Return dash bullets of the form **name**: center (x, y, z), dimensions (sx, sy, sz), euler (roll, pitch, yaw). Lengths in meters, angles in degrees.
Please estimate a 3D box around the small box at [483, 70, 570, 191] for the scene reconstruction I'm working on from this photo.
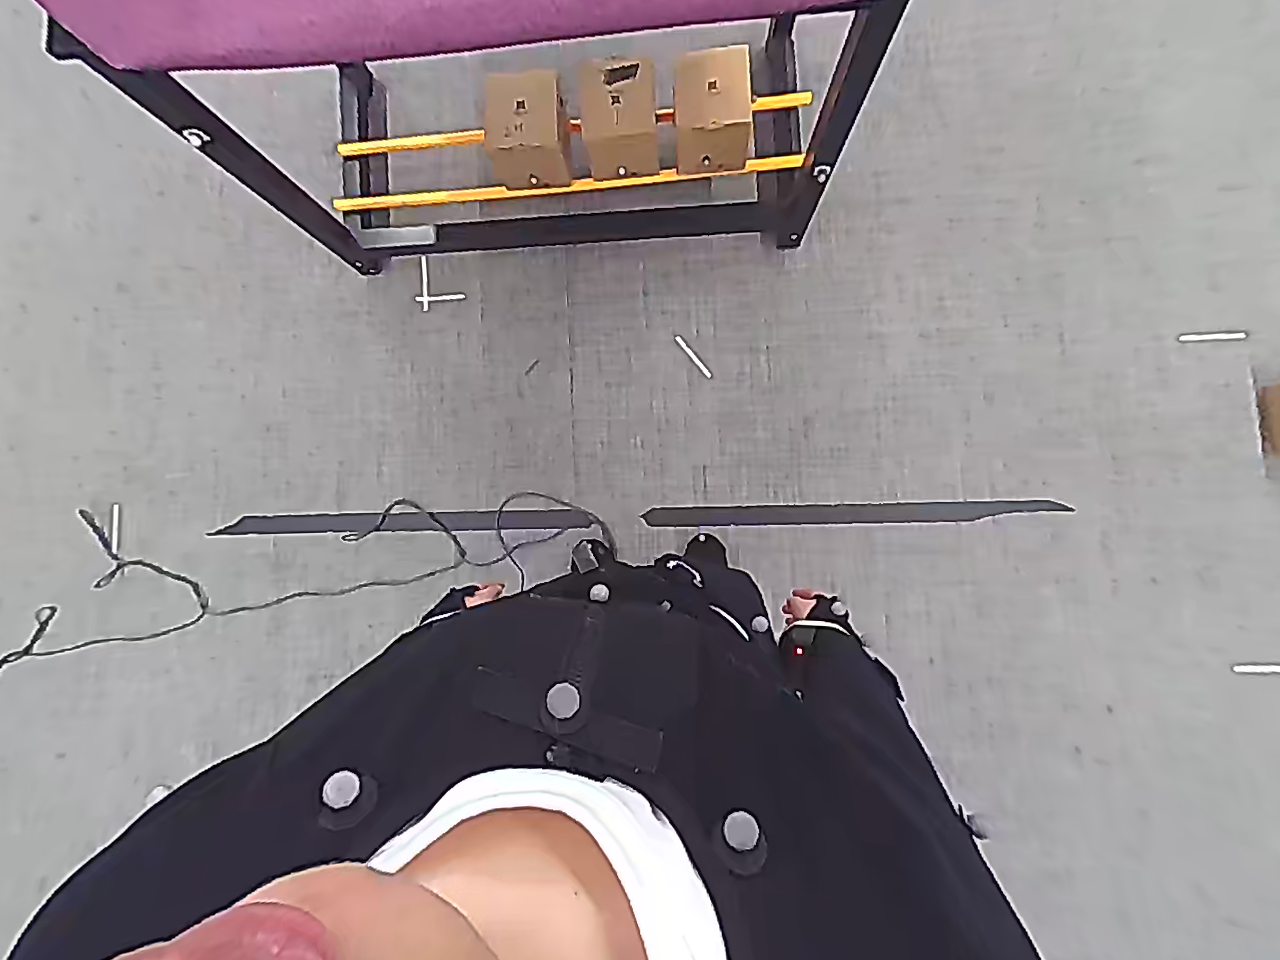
- **small box**: center (-0.261, -0.810, 1.265), dimensions (0.168, 0.176, 0.179), euler (-1, 88, 3)

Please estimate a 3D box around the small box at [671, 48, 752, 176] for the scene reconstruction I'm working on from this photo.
- **small box**: center (0.158, -0.833, 1.238), dimensions (0.168, 0.176, 0.179), euler (-3, 88, 4)
